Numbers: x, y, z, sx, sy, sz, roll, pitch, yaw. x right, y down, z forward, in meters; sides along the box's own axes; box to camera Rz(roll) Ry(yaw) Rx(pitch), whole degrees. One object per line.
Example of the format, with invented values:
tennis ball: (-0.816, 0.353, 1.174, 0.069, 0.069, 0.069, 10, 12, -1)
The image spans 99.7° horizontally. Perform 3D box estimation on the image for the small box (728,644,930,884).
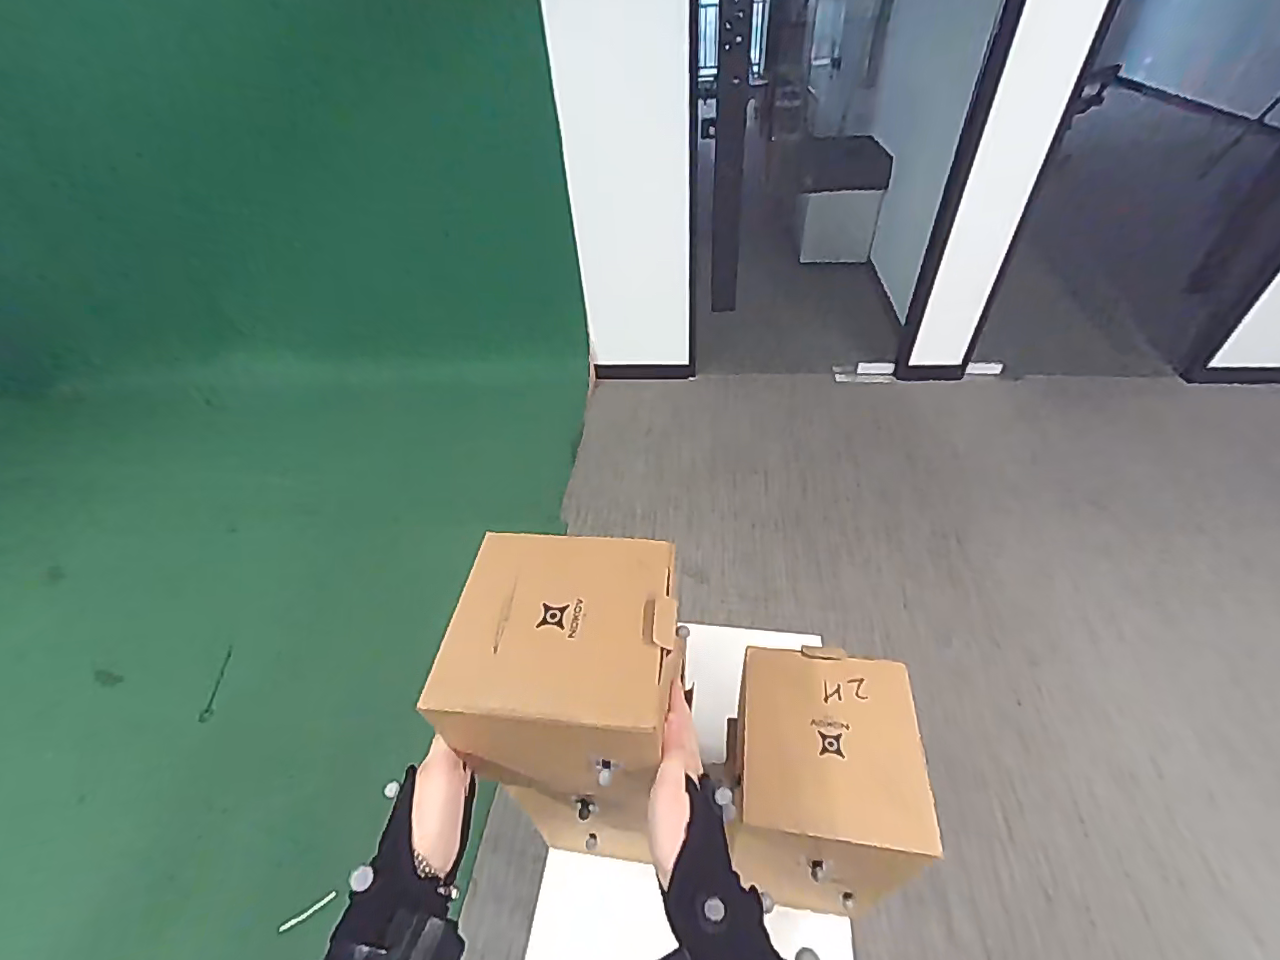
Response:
small box: (0.184, 0.303, 0.577, 0.168, 0.176, 0.179, 4, 45, 9)

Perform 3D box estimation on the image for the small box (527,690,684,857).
small box: (-0.034, 0.393, 0.738, 0.179, 0.176, 0.168, 4, 46, 7)

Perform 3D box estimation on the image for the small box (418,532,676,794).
small box: (-0.060, 0.166, 0.488, 0.179, 0.176, 0.168, 1, 45, 8)
